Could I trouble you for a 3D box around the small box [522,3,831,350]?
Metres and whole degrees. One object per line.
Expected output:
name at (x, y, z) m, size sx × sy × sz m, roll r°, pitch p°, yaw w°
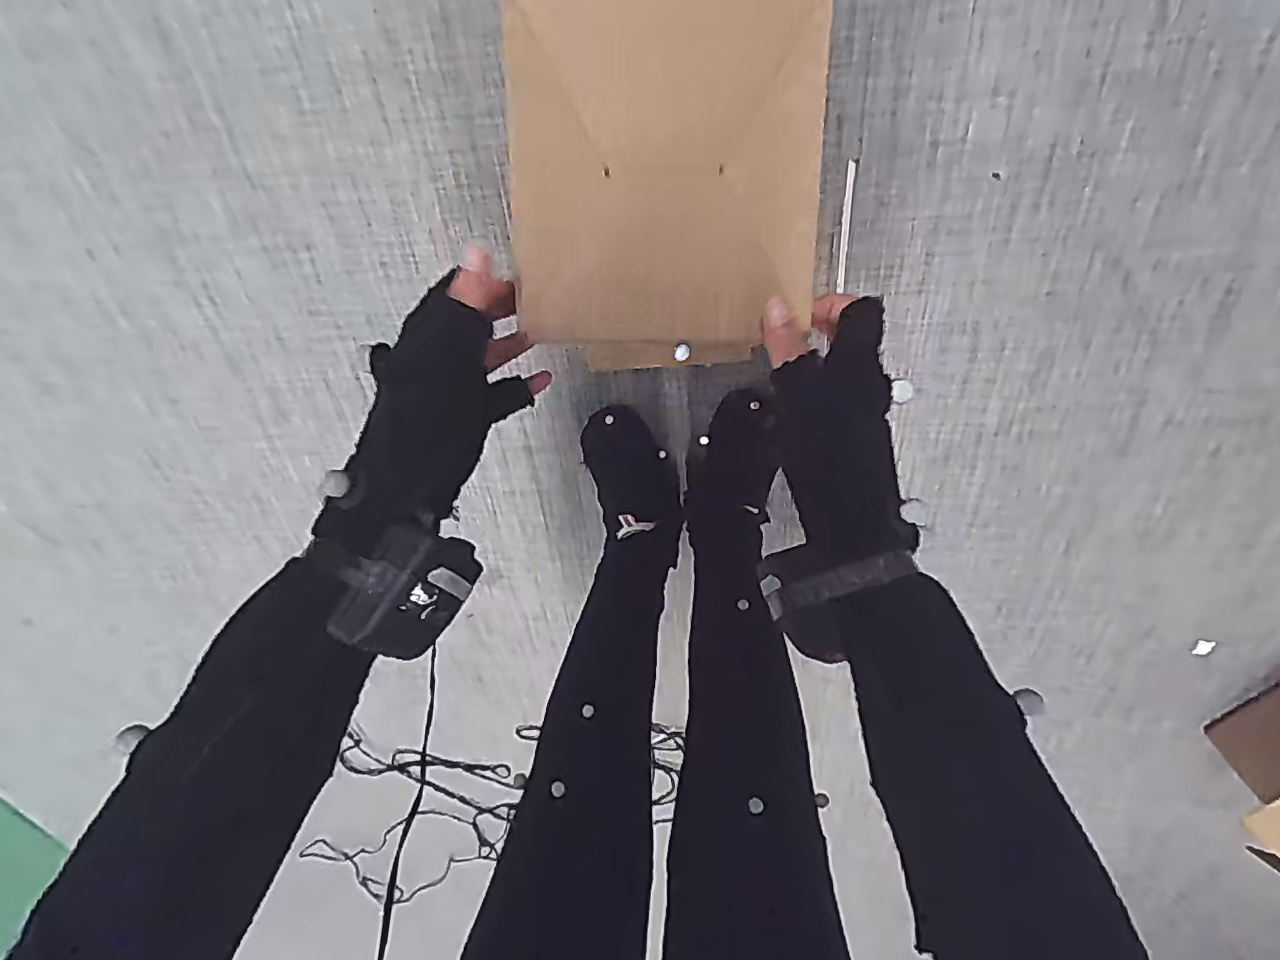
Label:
small box at (0.019, -0.182, 0.370) m, size 0.168 × 0.176 × 0.179 m, roll 1°, pitch 105°, yaw 0°
